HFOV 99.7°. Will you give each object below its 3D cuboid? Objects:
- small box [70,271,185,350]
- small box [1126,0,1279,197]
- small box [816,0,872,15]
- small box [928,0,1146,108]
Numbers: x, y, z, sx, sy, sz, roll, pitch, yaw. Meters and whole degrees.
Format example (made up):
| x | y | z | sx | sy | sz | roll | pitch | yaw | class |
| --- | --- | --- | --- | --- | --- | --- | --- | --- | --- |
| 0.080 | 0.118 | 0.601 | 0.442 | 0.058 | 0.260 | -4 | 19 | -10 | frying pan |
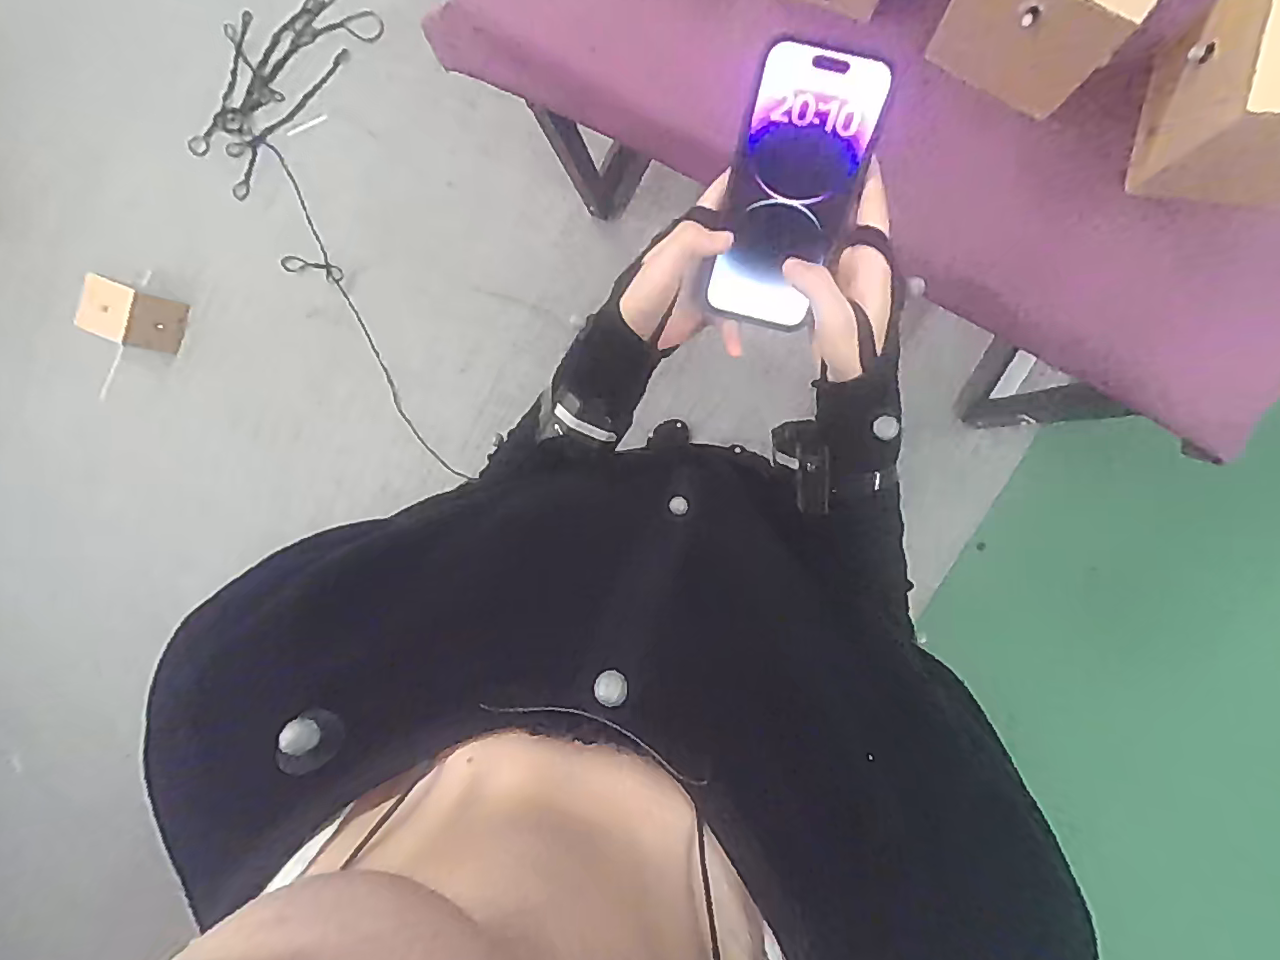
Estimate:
| x | y | z | sx | sy | sz | roll | pitch | yaw | class |
| --- | --- | --- | --- | --- | --- | --- | --- | --- | --- |
| -1.535 | -0.501 | 1.629 | 0.179 | 0.176 | 0.168 | 22 | 97 | 7 | small box |
| 0.676 | -0.423 | 0.570 | 0.179 | 0.176 | 0.168 | 10 | 94 | 8 | small box |
| 0.244 | -0.705 | 0.618 | 0.168 | 0.176 | 0.179 | 27 | 98 | 6 | small box |
| 0.460 | -0.564 | 0.595 | 0.179 | 0.176 | 0.168 | 34 | 98 | 5 | small box |
